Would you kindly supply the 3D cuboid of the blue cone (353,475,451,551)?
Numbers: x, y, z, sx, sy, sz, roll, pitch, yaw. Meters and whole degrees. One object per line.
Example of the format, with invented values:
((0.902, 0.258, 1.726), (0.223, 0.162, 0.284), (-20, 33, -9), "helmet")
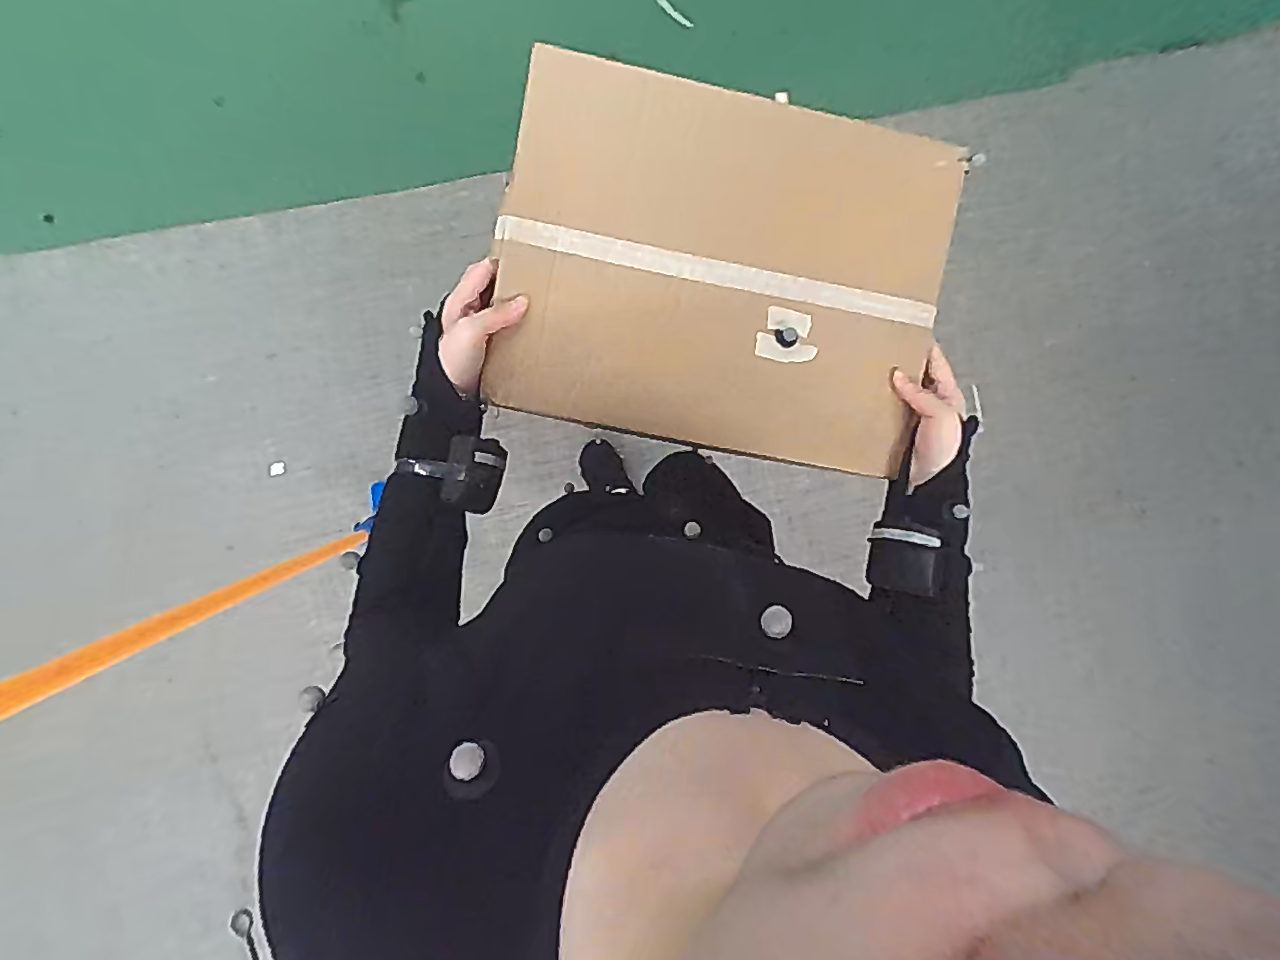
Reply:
((-0.578, 0.090, 1.261), (0.193, 0.380, 0.192), (-5, 92, -7), "blue cone")

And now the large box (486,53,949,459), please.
((0.062, -0.209, 0.647), (0.408, 0.320, 0.320), (9, 95, -6), "large box")
